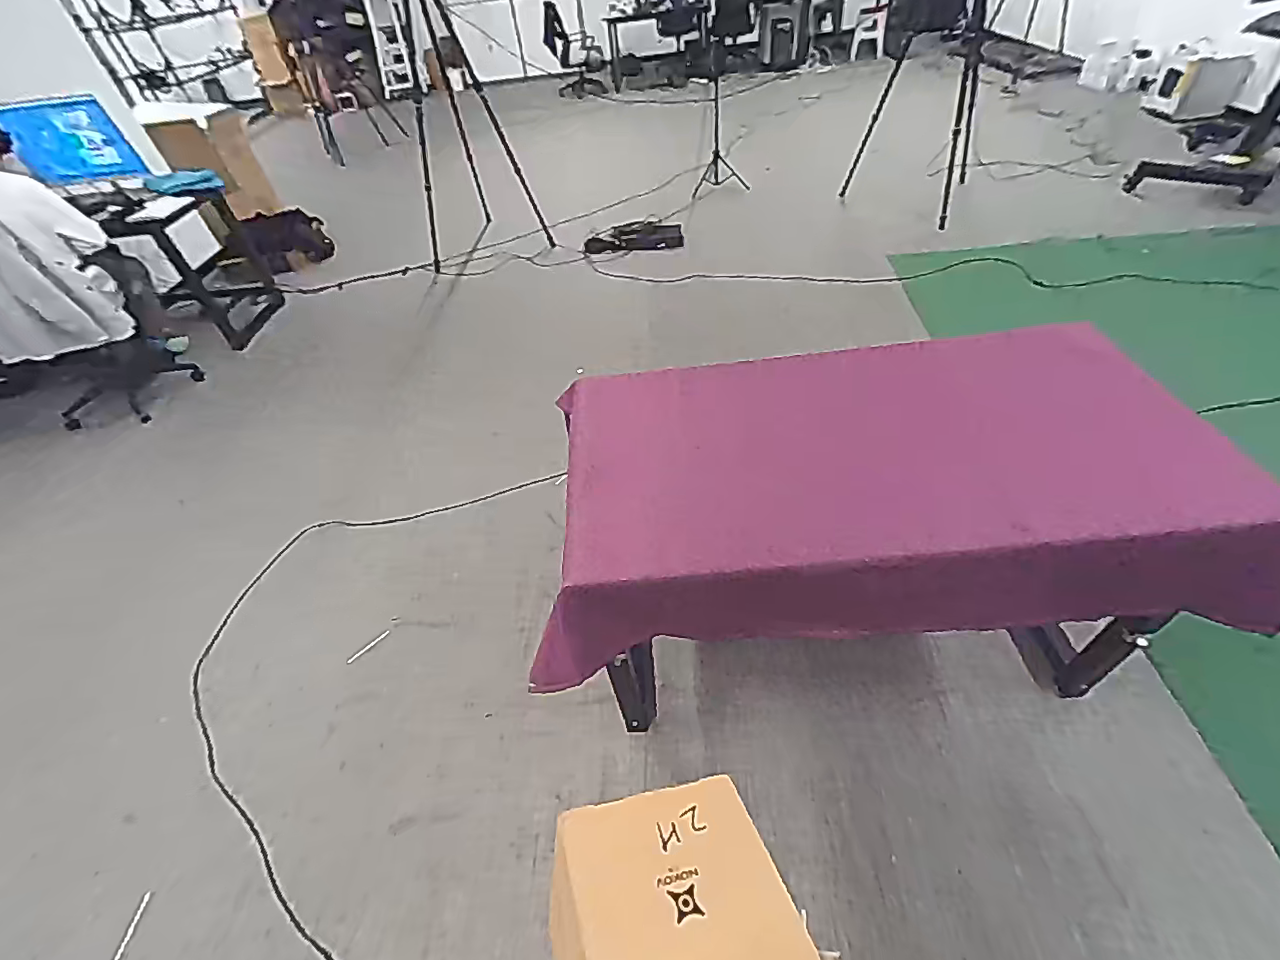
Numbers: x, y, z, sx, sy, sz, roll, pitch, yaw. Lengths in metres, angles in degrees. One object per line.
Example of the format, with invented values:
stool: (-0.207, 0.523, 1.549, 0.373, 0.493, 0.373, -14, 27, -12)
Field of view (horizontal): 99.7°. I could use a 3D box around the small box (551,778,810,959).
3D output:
small box: (0.020, 0.399, 0.458, 0.168, 0.176, 0.179, 0, 25, -19)
